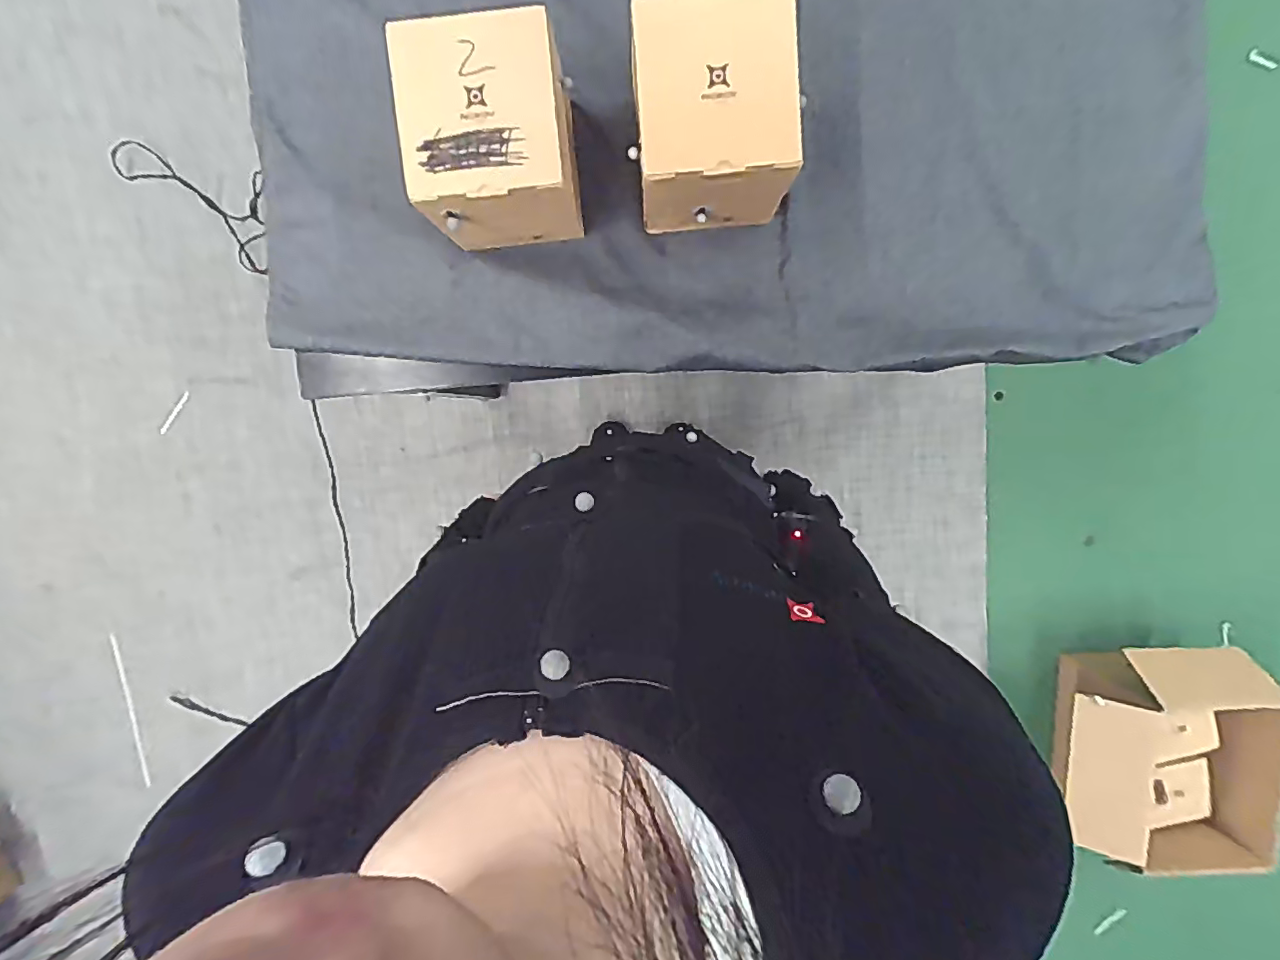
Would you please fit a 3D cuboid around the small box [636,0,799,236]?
[{"bbox_3d":[0.082,-0.414,0.644,0.168,0.176,0.179,-5,97,2],"label":"small box"}]
